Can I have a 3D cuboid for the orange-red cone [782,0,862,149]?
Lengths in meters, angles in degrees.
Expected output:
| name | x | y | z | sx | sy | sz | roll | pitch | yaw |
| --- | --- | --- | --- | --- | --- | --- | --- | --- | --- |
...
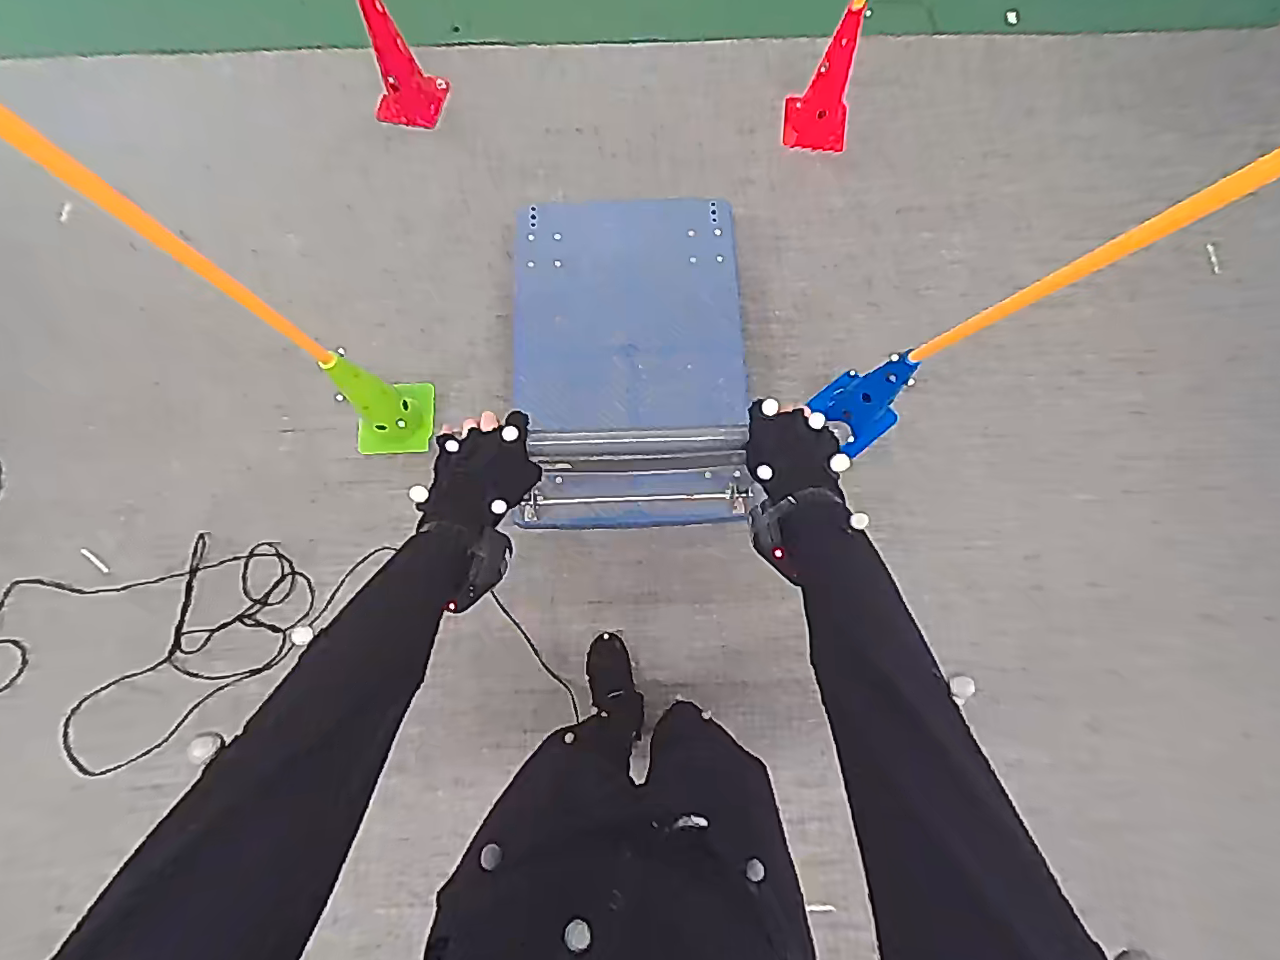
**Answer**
| name | x | y | z | sx | sy | sz | roll | pitch | yaw |
| --- | --- | --- | --- | --- | --- | --- | --- | --- | --- |
| orange-red cone | 0.553 | -1.178 | 1.548 | 0.198 | 0.360 | 0.199 | 9 | 78 | 3 |
